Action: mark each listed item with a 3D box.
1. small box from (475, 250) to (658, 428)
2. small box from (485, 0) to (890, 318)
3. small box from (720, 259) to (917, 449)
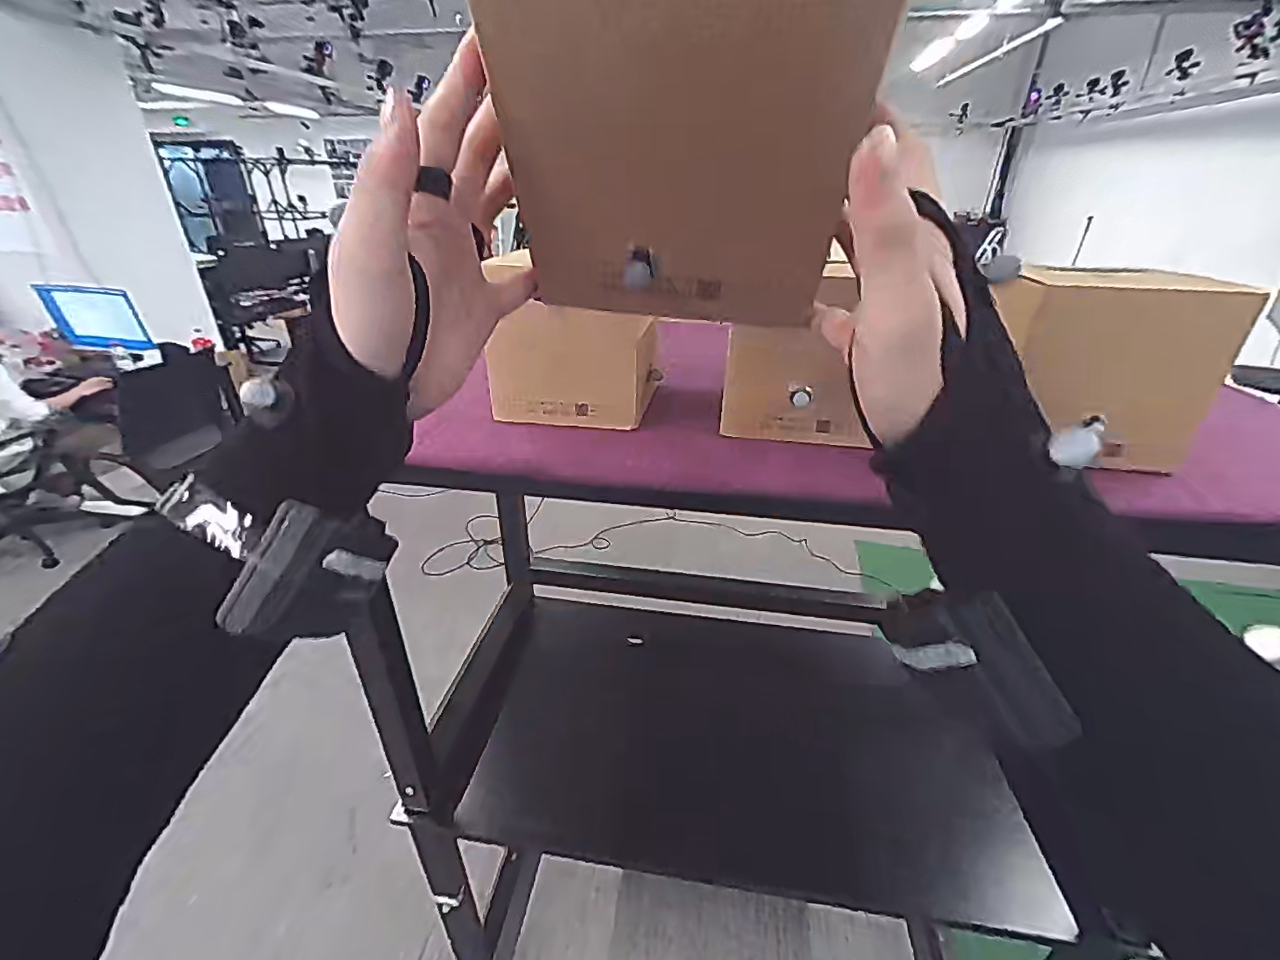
[{"bbox_3d":[-0.072,-0.171,0.630,0.168,0.176,0.179,4,26,9],"label":"small box"},{"bbox_3d":[0.028,-0.222,0.307,0.168,0.176,0.179,7,60,7],"label":"small box"},{"bbox_3d":[0.179,-0.148,0.598,0.168,0.176,0.179,5,28,9],"label":"small box"}]
